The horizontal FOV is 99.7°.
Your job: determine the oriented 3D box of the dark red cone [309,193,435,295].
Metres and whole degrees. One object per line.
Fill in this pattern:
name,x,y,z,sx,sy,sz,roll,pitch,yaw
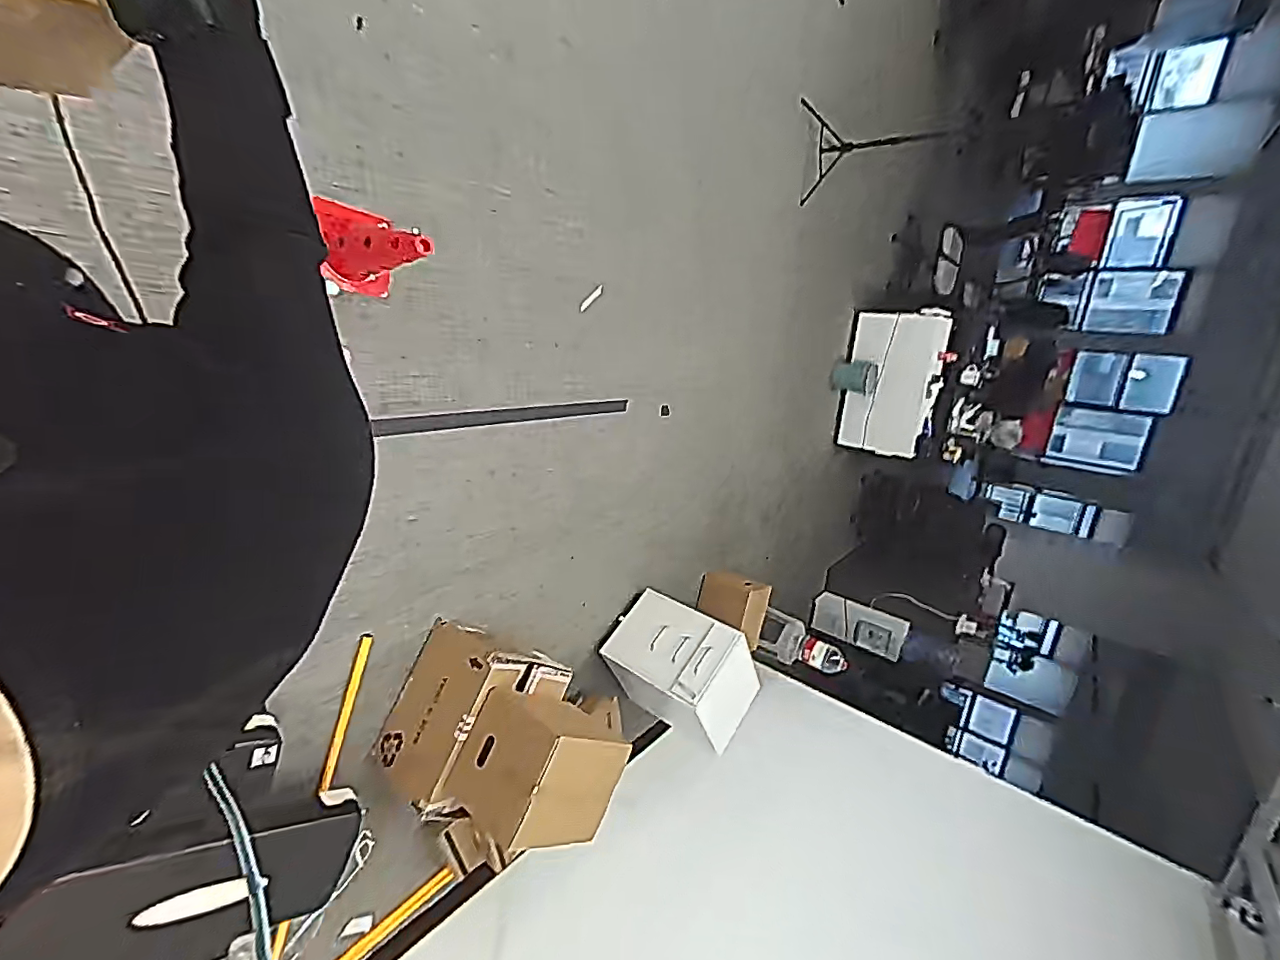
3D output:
dark red cone,-0.583,-0.534,1.232,0.201,0.394,0.202,-5,107,-50

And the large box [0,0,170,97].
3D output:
large box,-0.553,-0.417,0.247,0.408,0.320,0.320,-26,124,-46
